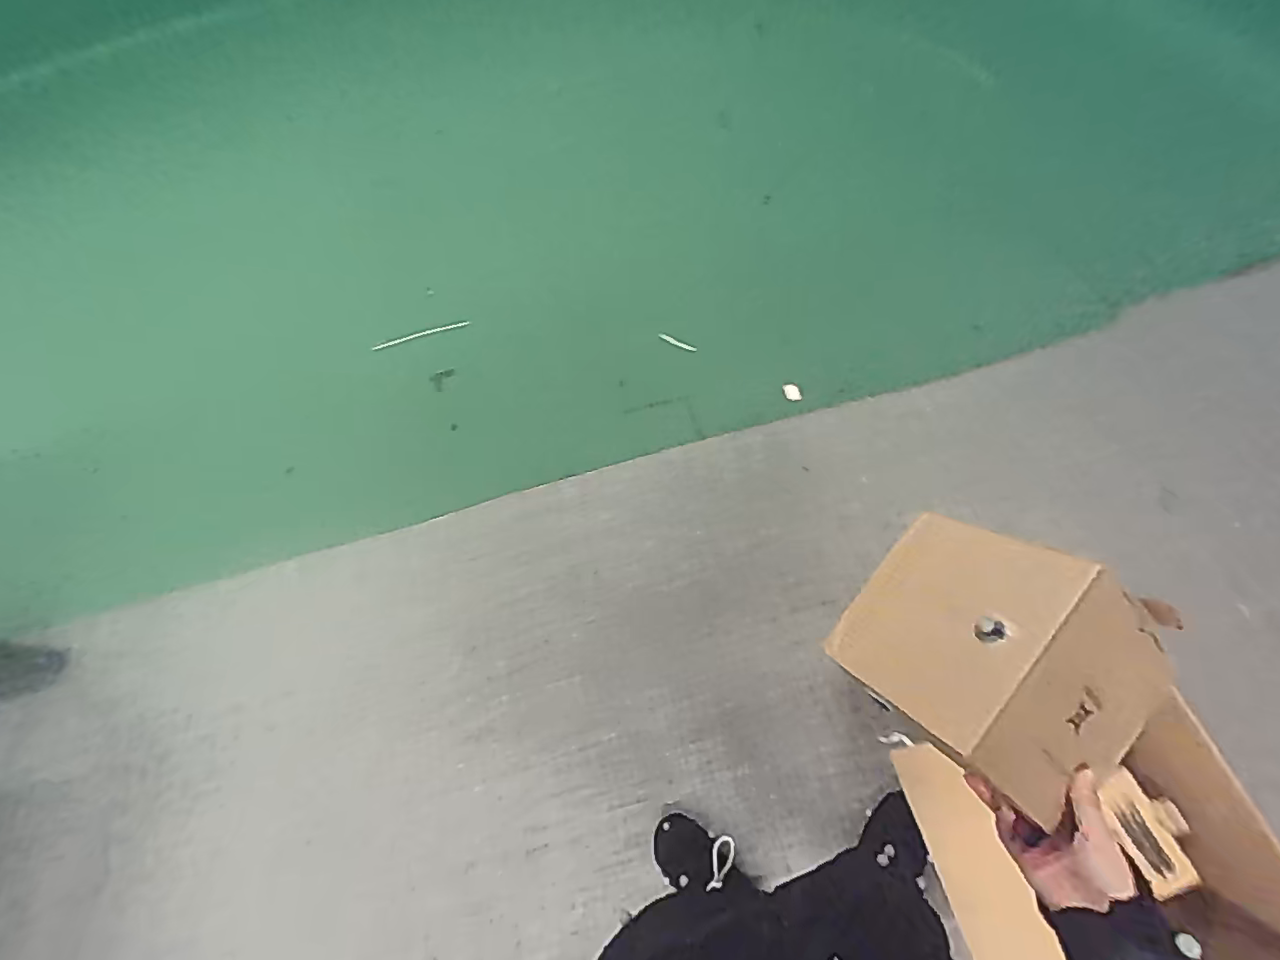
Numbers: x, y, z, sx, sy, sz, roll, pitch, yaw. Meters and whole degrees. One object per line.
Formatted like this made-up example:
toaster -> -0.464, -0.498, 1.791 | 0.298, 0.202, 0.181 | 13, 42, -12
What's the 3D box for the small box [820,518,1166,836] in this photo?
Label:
small box -> 0.302, 0.158, 0.486 | 0.168, 0.176, 0.179 | 41, 85, -22
